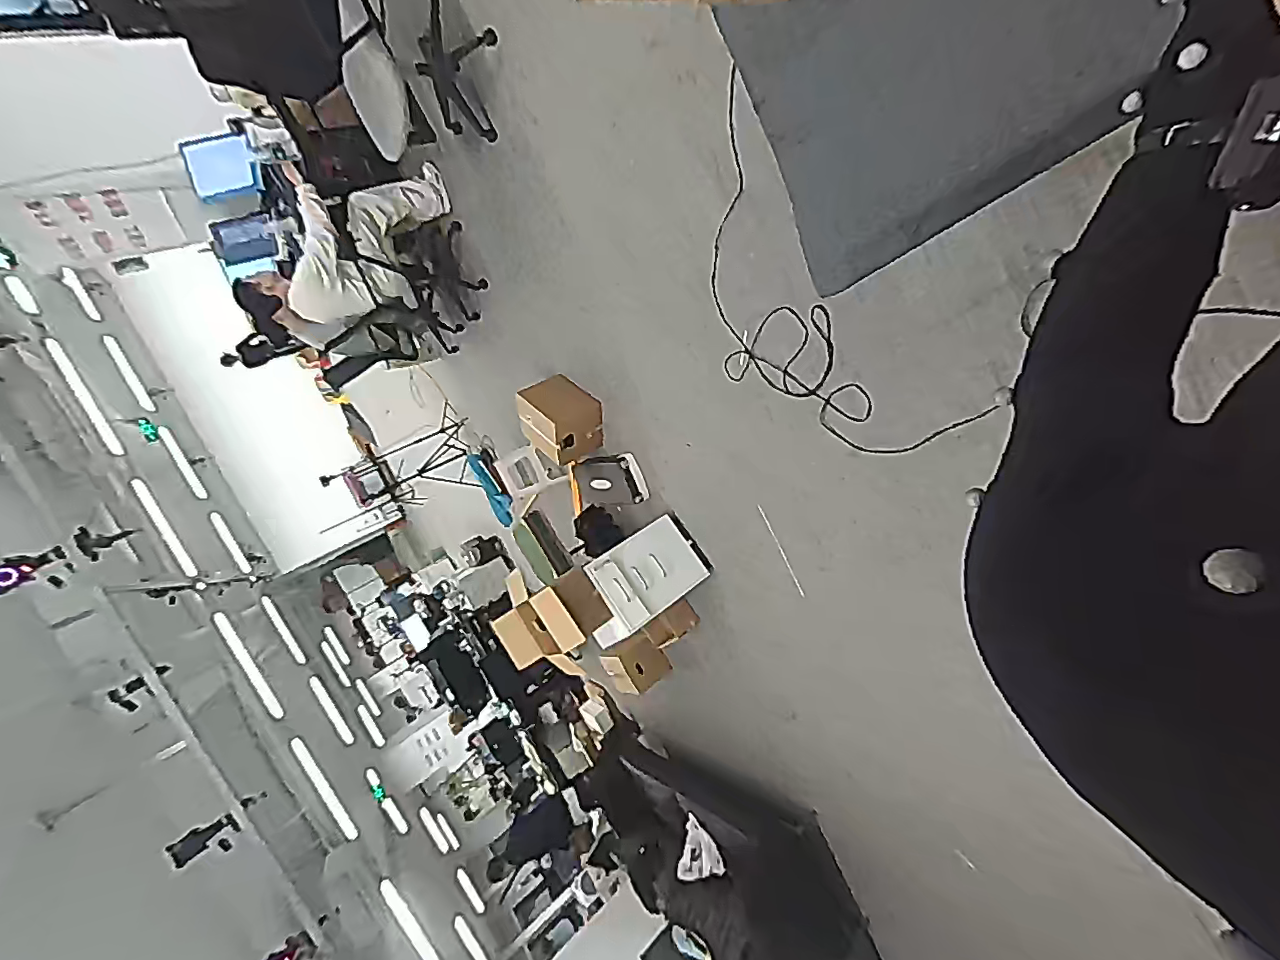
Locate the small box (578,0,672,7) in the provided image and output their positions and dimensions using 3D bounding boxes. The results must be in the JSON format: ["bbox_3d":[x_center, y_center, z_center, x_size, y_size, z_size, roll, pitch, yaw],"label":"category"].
[{"bbox_3d":[0.009,-0.596,0.505,0.179,0.176,0.168,-15,104,60],"label":"small box"}]
